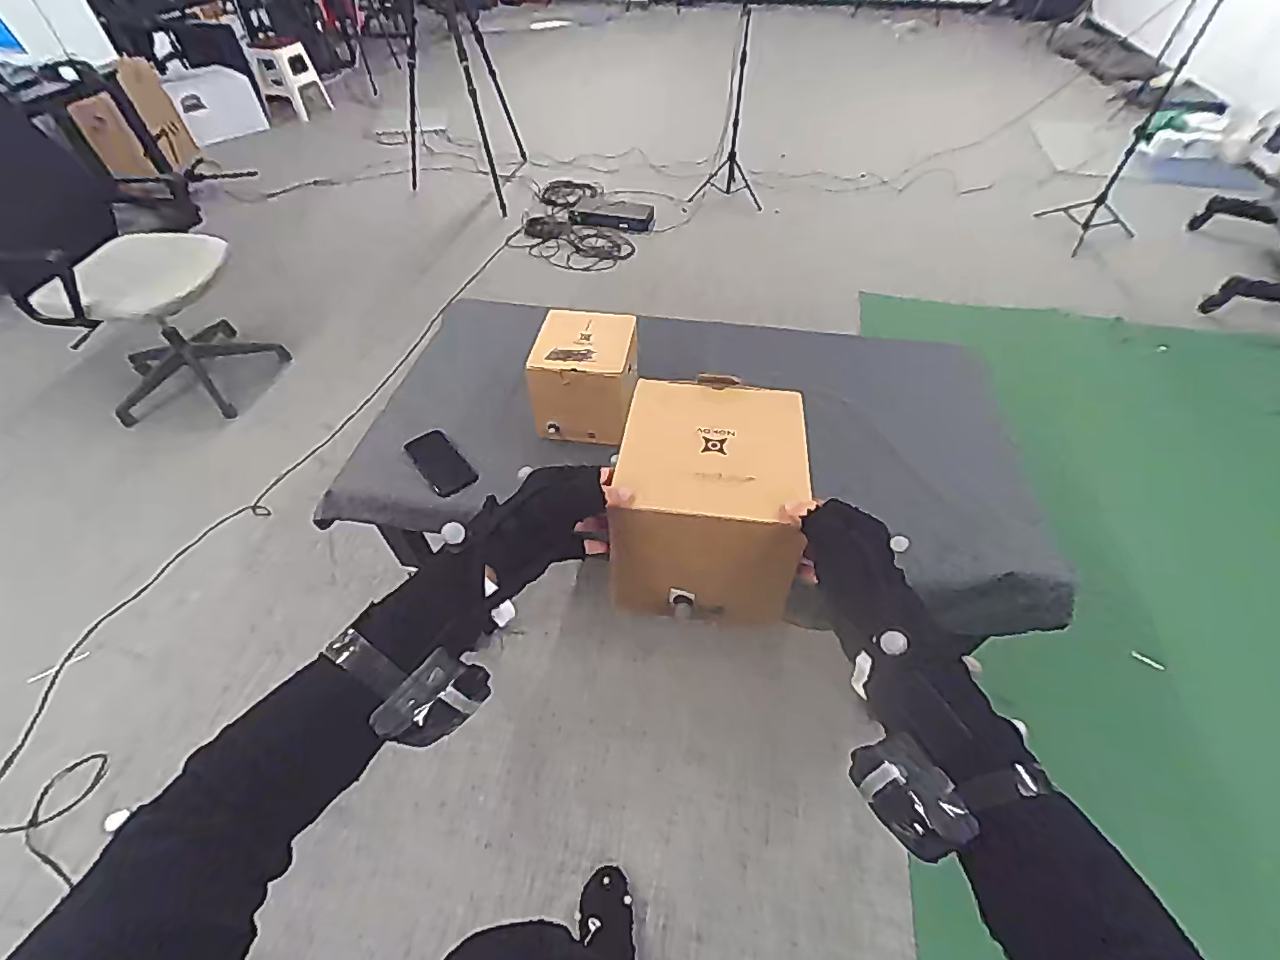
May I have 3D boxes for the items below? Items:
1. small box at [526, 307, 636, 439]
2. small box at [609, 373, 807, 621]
[{"bbox_3d":[-0.098,-0.196,1.005,0.168,0.176,0.179,6,49,5],"label":"small box"},{"bbox_3d":[0.065,0.016,0.550,0.168,0.176,0.179,6,48,6],"label":"small box"}]
